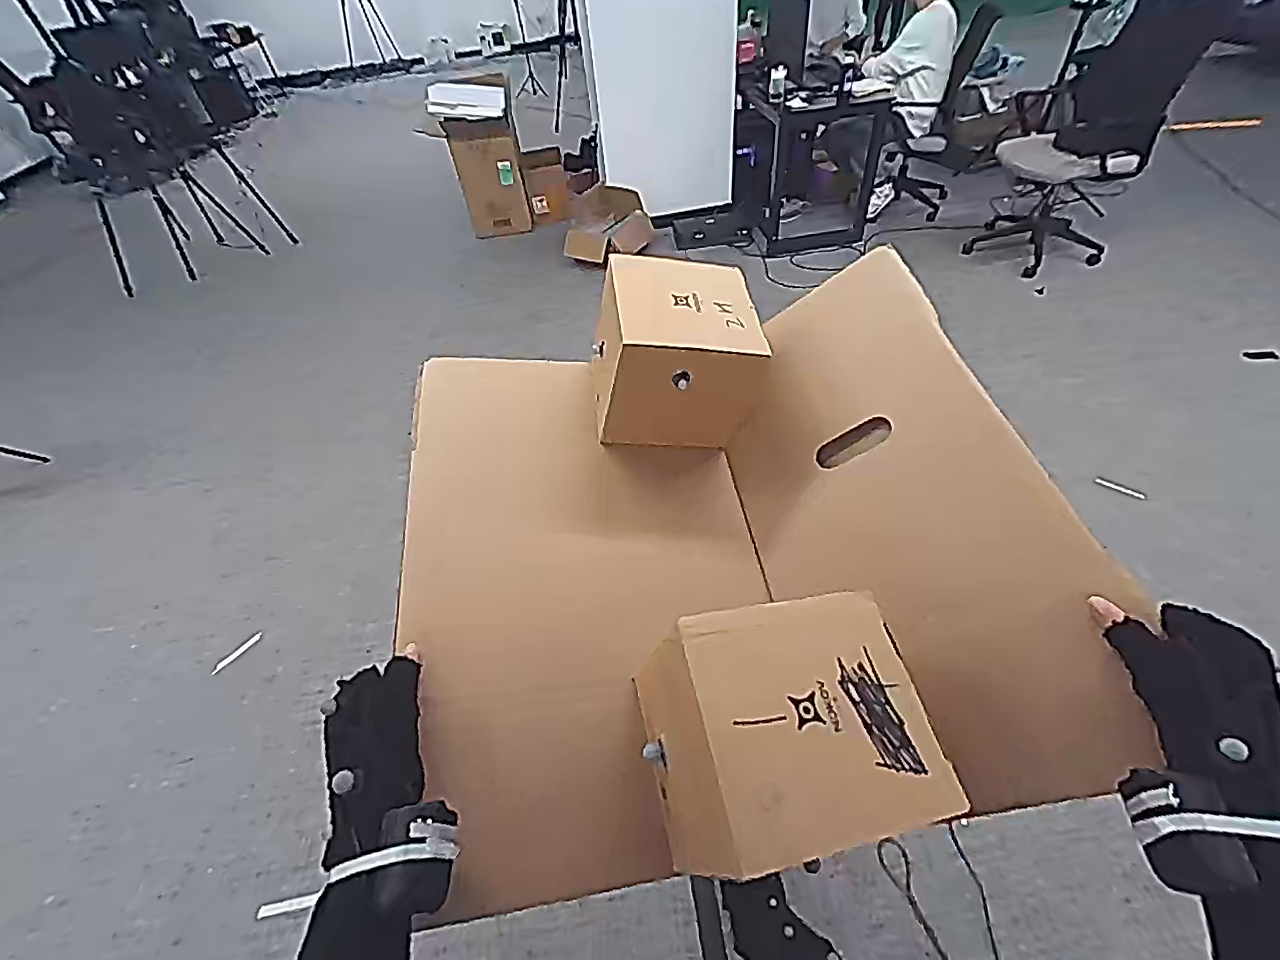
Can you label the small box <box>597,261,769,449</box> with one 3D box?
[{"bbox_3d":[0.040,-0.155,0.703,0.179,0.176,0.168,2,55,-13],"label":"small box"}]
